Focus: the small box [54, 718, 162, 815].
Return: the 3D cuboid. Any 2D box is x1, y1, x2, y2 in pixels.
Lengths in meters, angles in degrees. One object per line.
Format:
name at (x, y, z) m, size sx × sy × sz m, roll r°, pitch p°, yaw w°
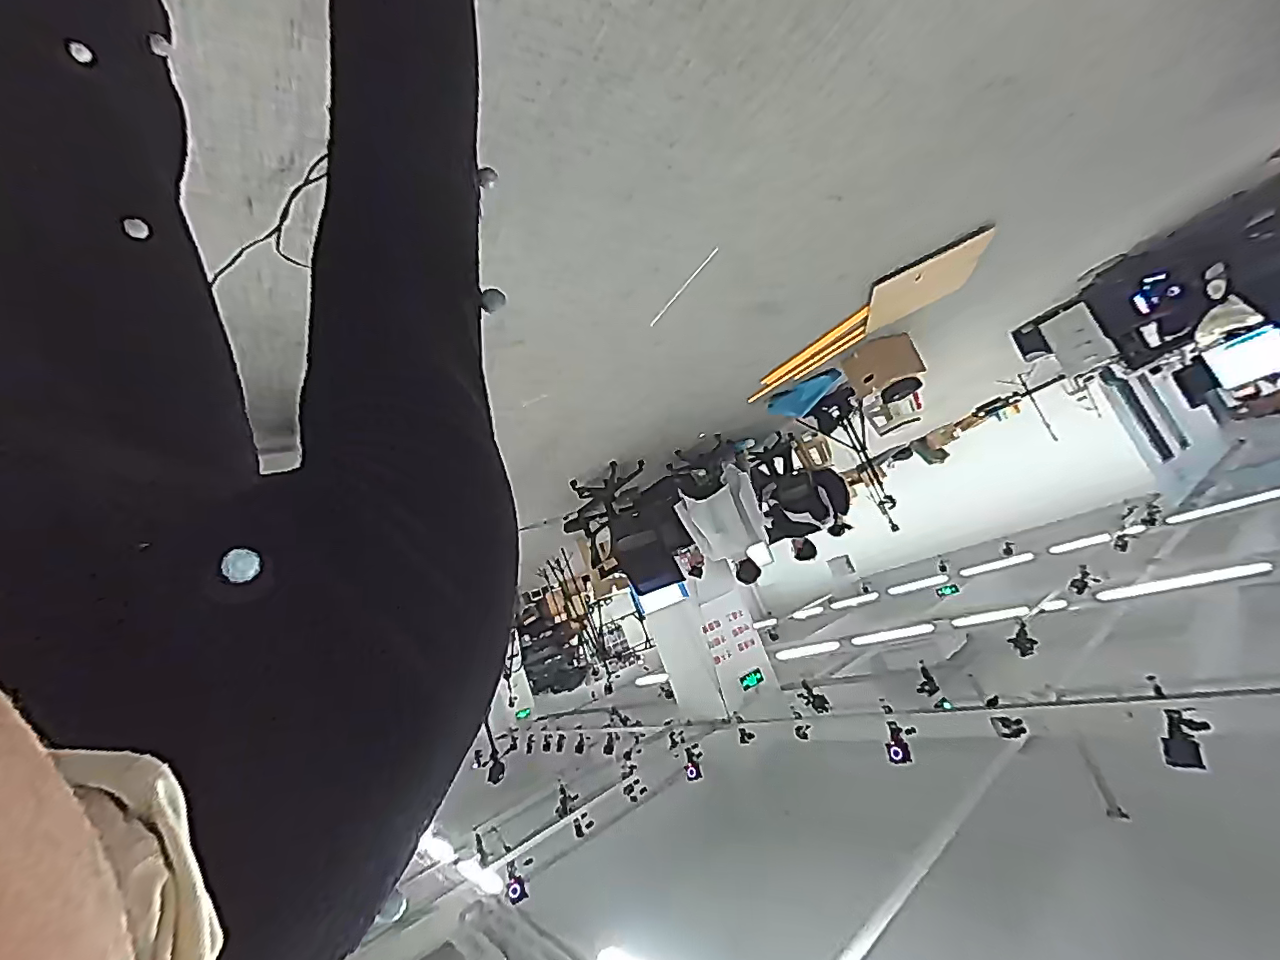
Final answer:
small box at (-1.377, 0.736, 1.406) m, size 0.168 × 0.176 × 0.179 m, roll -12°, pitch 164°, yaw -36°
